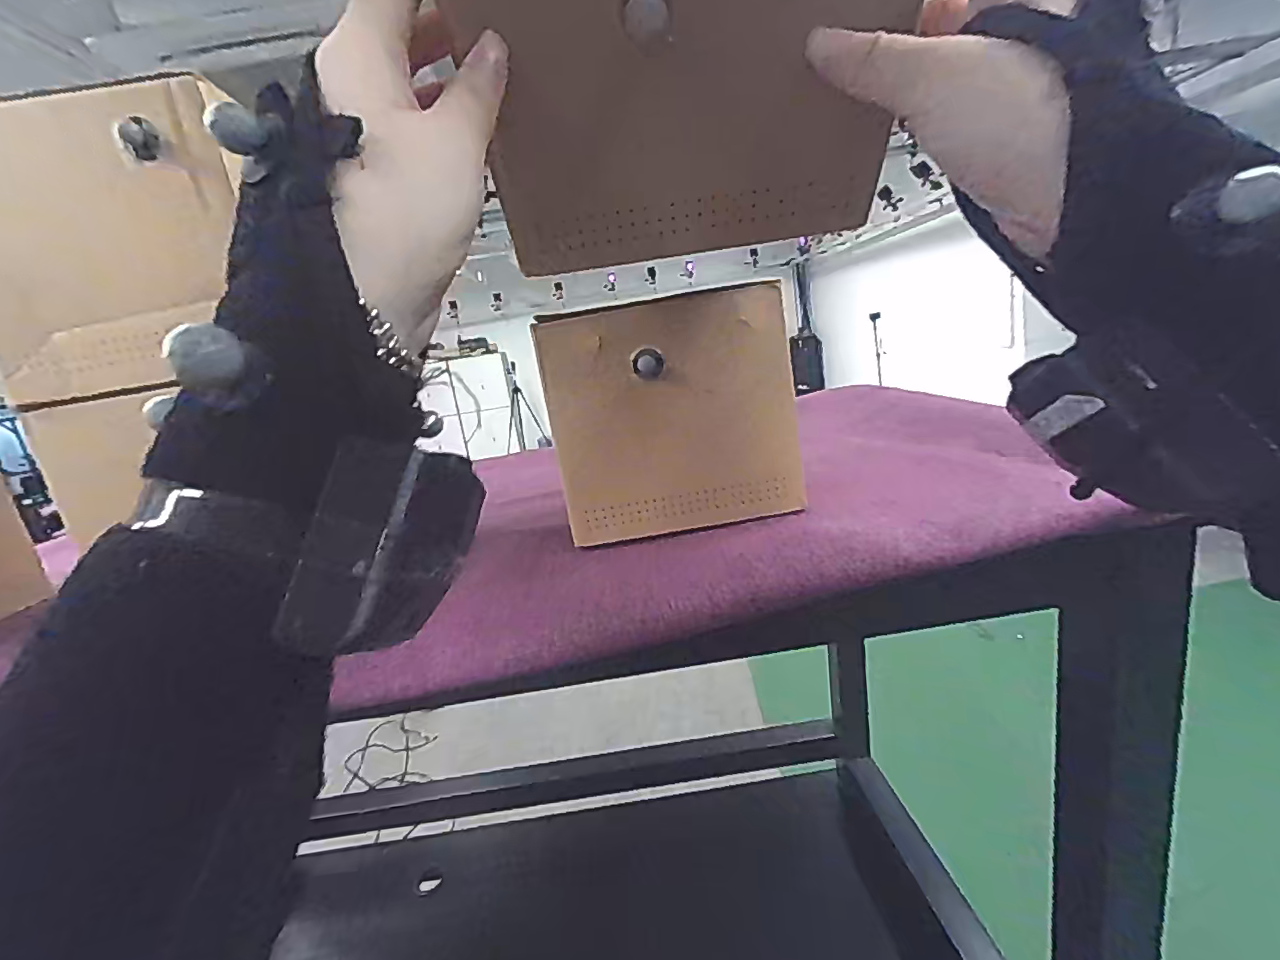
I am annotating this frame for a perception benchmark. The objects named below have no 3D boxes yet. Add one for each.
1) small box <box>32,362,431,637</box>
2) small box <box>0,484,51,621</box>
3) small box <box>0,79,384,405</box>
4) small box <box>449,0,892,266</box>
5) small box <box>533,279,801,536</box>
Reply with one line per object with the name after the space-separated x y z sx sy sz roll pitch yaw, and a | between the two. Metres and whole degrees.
-0.293 0.004 0.439 0.179 0.176 0.168 -11 13 -1 | small box
-0.629 0.062 0.407 0.168 0.176 0.179 -9 14 -3 | small box
-0.325 -0.153 0.404 0.179 0.176 0.168 -10 13 -3 | small box
0.010 -0.226 0.259 0.179 0.176 0.168 -8 55 2 | small box
0.024 -0.058 0.466 0.179 0.176 0.168 -9 11 2 | small box
